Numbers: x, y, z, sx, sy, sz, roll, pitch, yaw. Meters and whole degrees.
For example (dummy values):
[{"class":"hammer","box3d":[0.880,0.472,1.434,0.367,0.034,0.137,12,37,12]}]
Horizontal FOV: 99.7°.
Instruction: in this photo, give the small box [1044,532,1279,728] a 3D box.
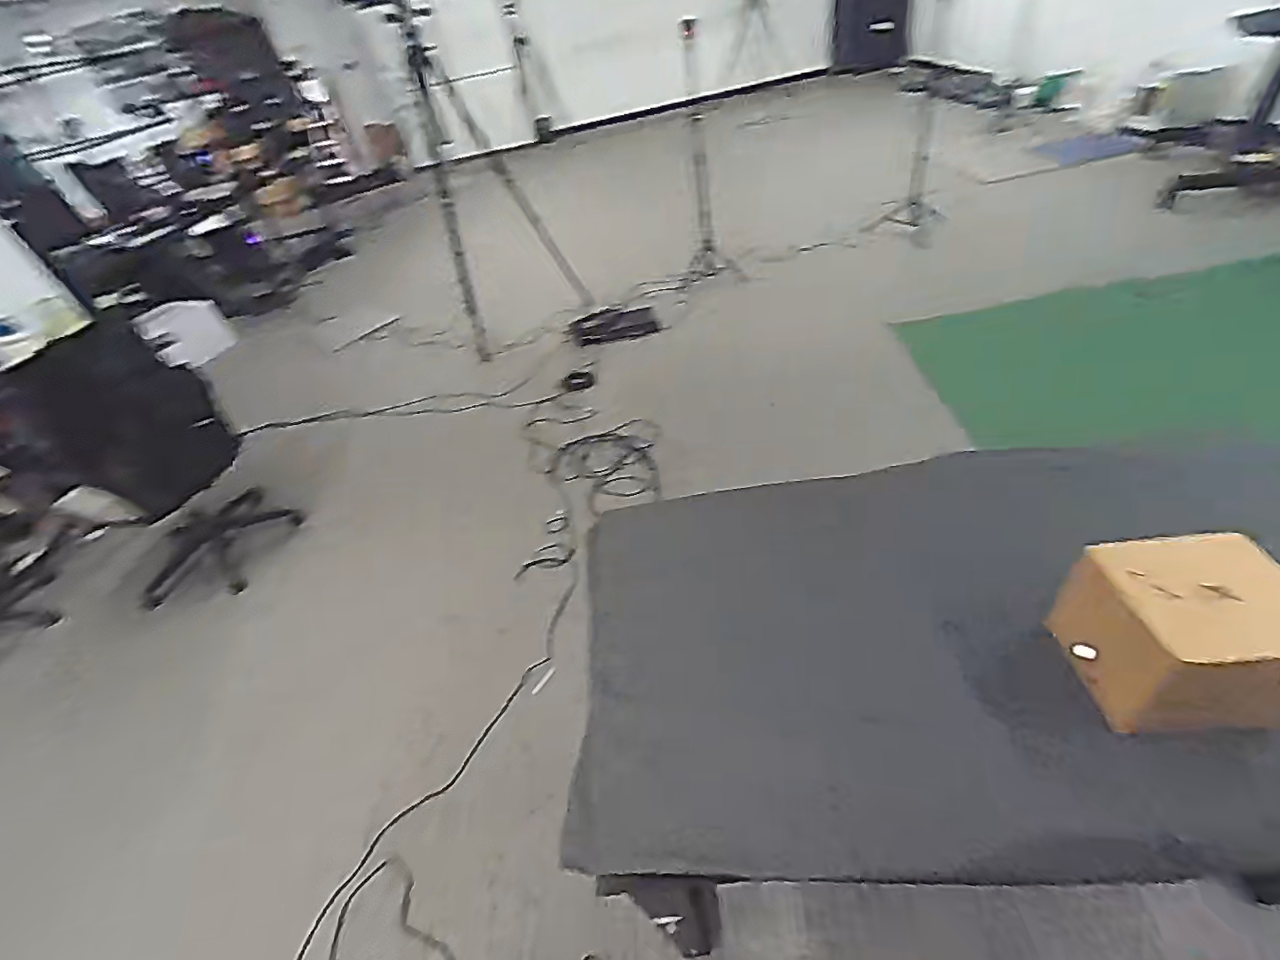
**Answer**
[{"class":"small box","box3d":[0.650,0.186,0.663,0.179,0.176,0.168,-7,41,8]}]
